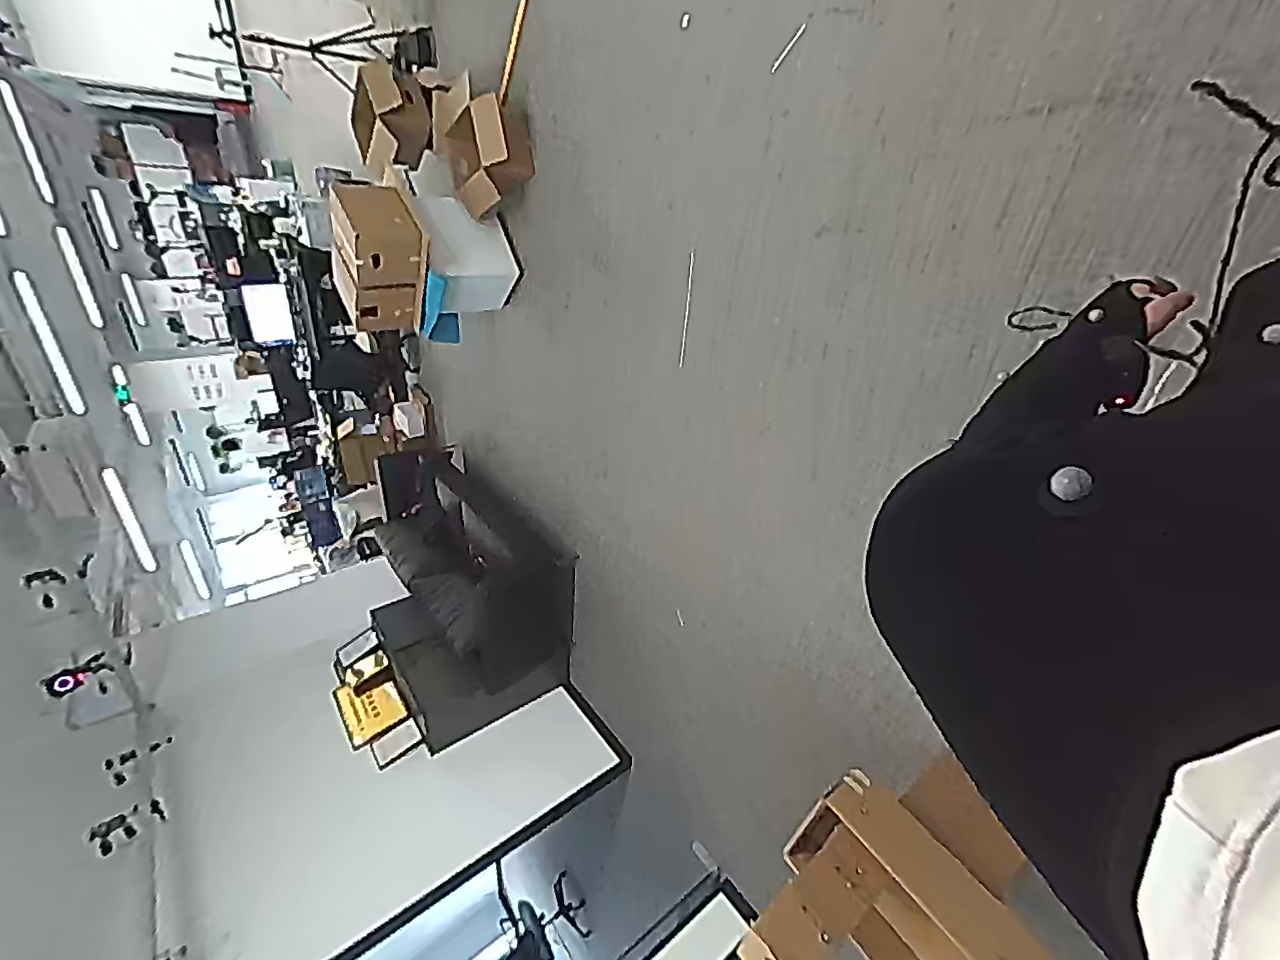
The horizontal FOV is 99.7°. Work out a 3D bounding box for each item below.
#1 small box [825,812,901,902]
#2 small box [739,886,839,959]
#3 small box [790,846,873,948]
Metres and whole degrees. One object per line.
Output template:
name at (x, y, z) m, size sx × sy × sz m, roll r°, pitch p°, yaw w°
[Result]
small box at (0.638, 1.137, 1.598) m, size 0.168 × 0.176 × 0.179 m, roll 38°, pitch 133°, yaw 37°
small box at (0.388, 1.210, 1.400) m, size 0.168 × 0.176 × 0.179 m, roll 38°, pitch 133°, yaw 37°
small box at (0.513, 1.174, 1.499) m, size 0.168 × 0.176 × 0.179 m, roll 38°, pitch 132°, yaw 37°
